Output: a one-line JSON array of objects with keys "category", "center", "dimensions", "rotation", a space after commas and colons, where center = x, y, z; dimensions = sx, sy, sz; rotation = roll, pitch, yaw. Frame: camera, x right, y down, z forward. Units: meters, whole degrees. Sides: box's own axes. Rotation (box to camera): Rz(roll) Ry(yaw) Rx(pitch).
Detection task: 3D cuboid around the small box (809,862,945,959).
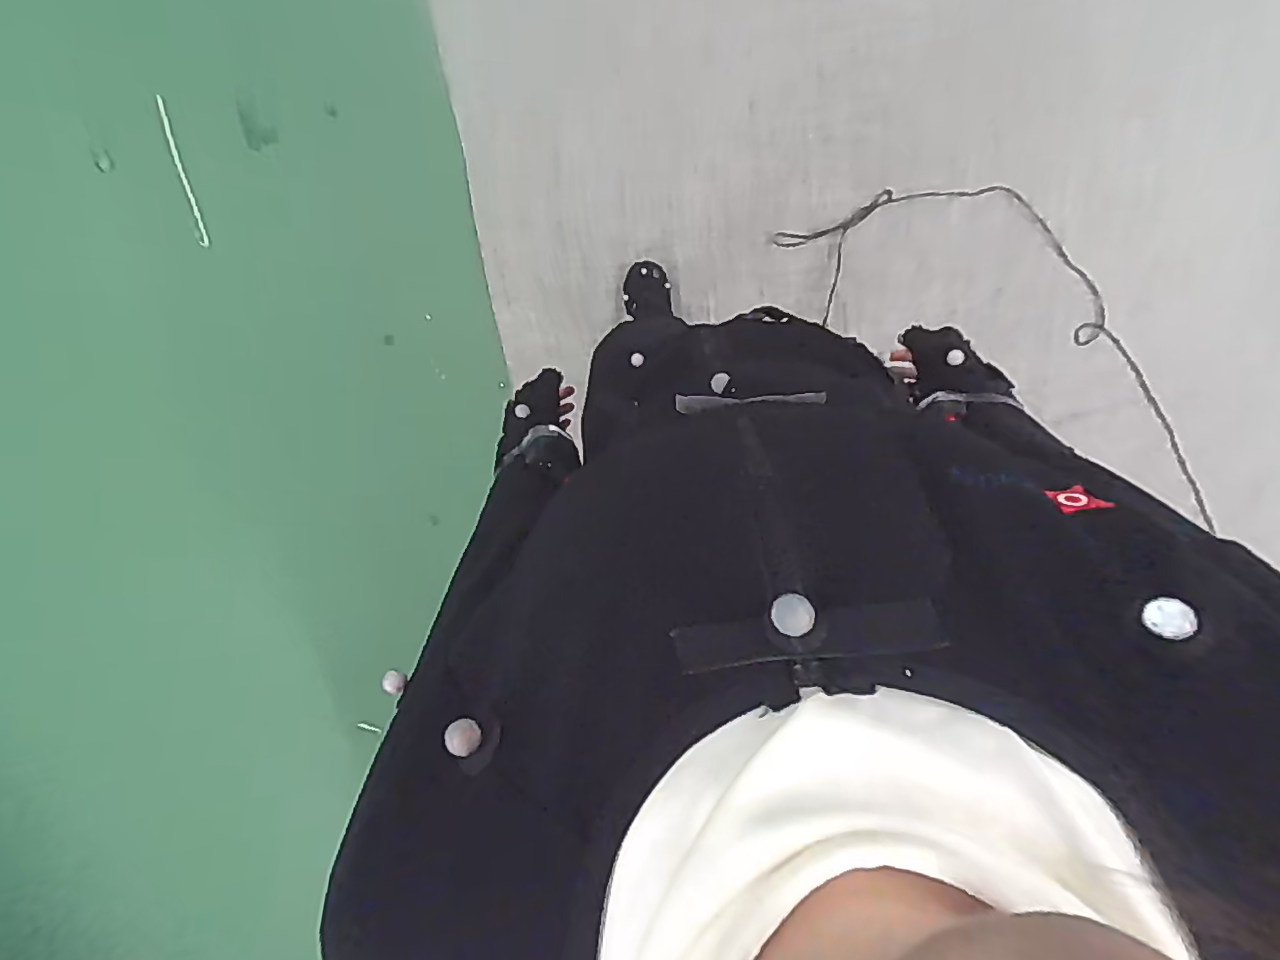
[{"category": "small box", "center": [0.374, 0.750, 0.857], "dimensions": [0.168, 0.176, 0.179], "rotation": [-9, 109, 4]}]
